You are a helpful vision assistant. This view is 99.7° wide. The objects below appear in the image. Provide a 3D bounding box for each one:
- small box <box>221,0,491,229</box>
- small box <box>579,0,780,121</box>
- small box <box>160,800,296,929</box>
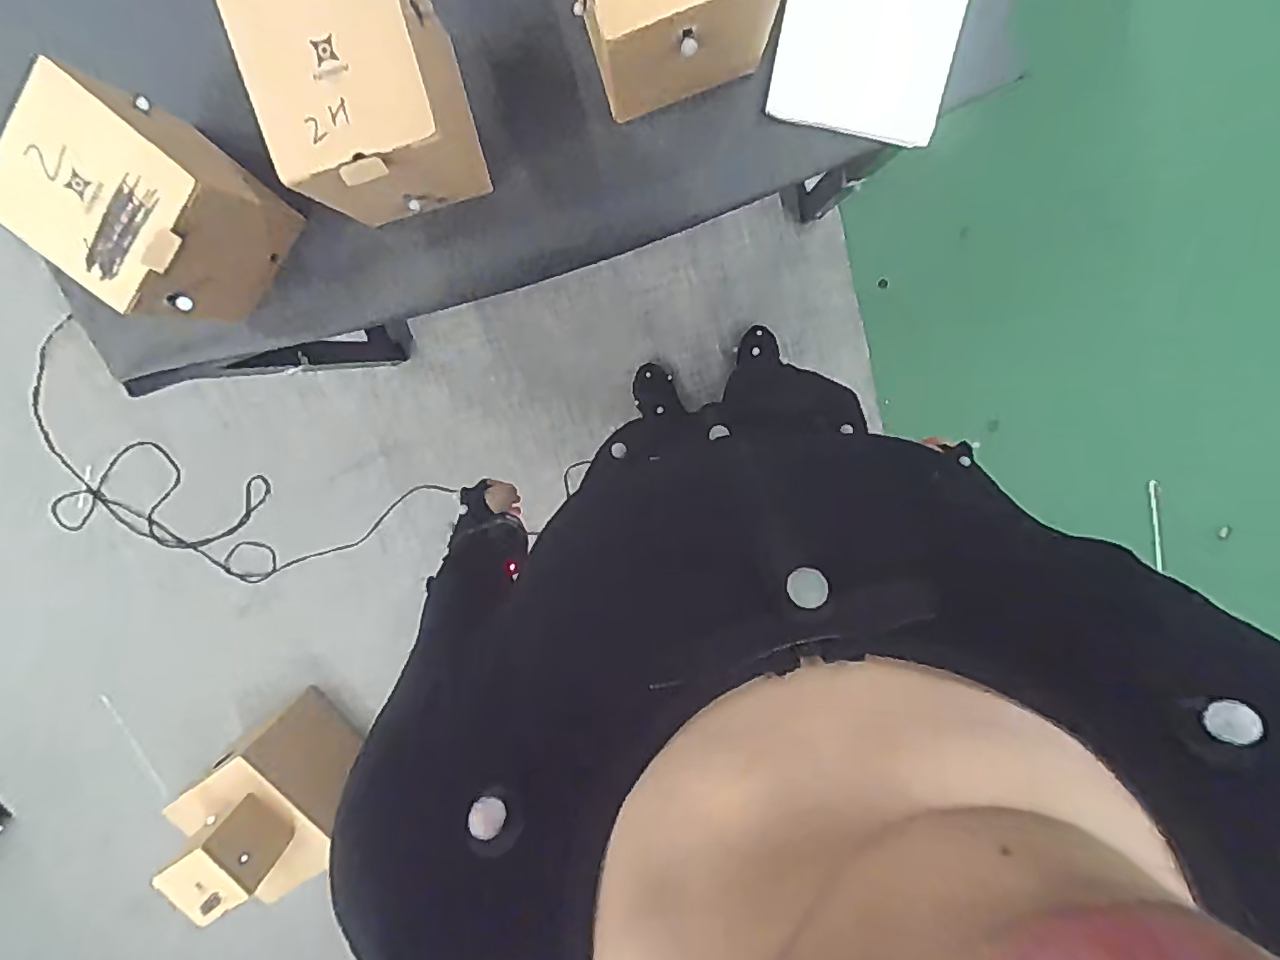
[{"bbox_3d":[-0.283,-0.399,0.583,0.168,0.176,0.179,-14,101,6],"label":"small box"},{"bbox_3d":[0.027,-0.507,0.545,0.179,0.176,0.168,-17,100,7],"label":"small box"},{"bbox_3d":[-1.024,0.959,1.361,0.168,0.176,0.179,-35,99,8],"label":"small box"}]
